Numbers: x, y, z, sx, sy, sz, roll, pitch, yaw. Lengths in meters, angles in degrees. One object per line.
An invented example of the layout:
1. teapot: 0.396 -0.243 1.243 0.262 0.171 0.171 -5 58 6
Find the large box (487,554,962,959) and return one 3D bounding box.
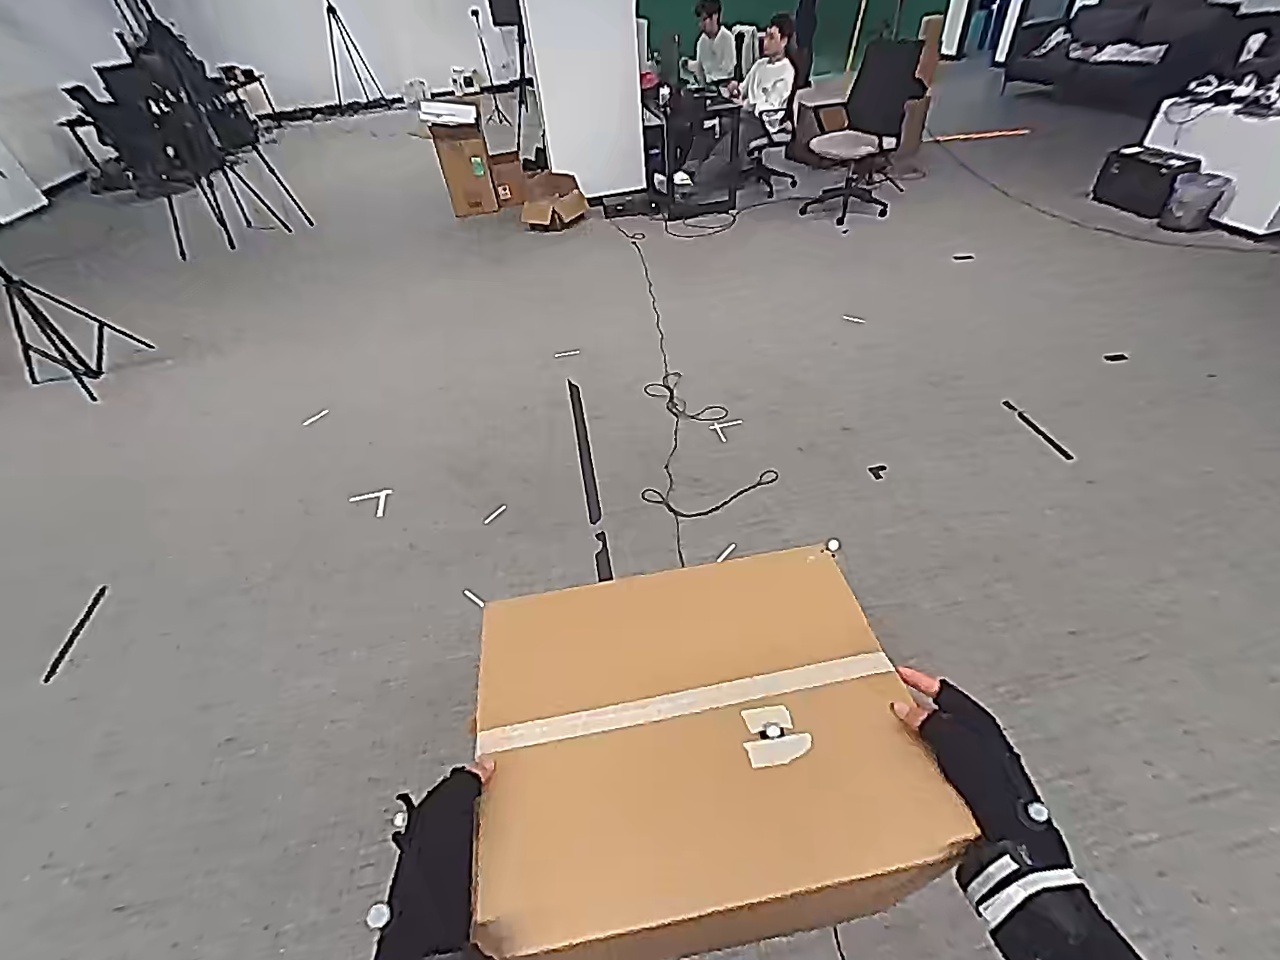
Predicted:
1. large box: 0.057 0.333 0.637 0.408 0.320 0.320 -9 45 -5
